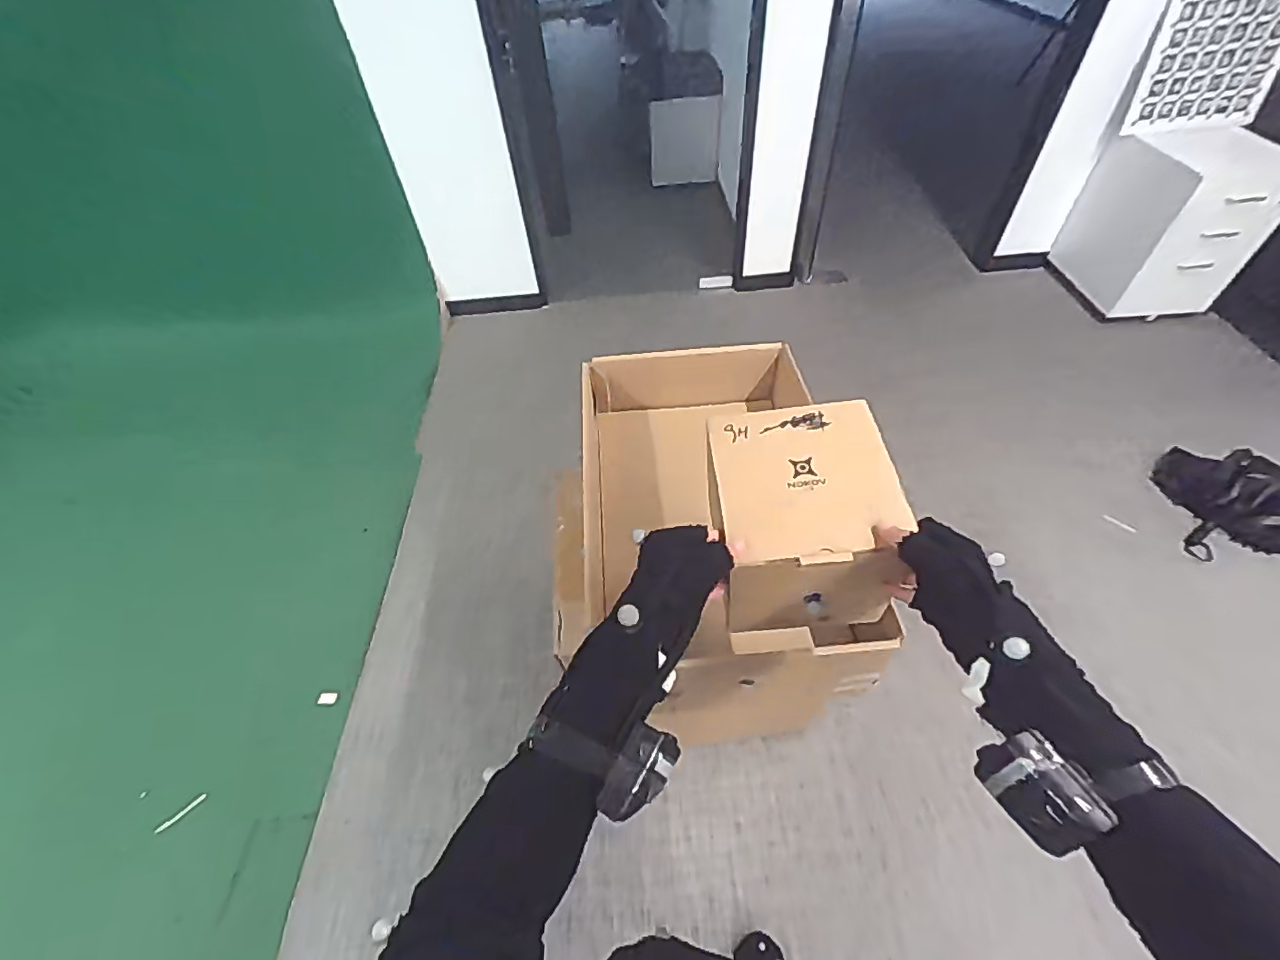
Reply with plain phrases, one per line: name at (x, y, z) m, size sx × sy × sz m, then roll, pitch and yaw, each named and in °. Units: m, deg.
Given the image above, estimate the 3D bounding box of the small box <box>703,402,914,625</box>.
small box at (0.162, 0.045, 0.579) m, size 0.168 × 0.176 × 0.179 m, roll -7°, pitch 54°, yaw 4°
